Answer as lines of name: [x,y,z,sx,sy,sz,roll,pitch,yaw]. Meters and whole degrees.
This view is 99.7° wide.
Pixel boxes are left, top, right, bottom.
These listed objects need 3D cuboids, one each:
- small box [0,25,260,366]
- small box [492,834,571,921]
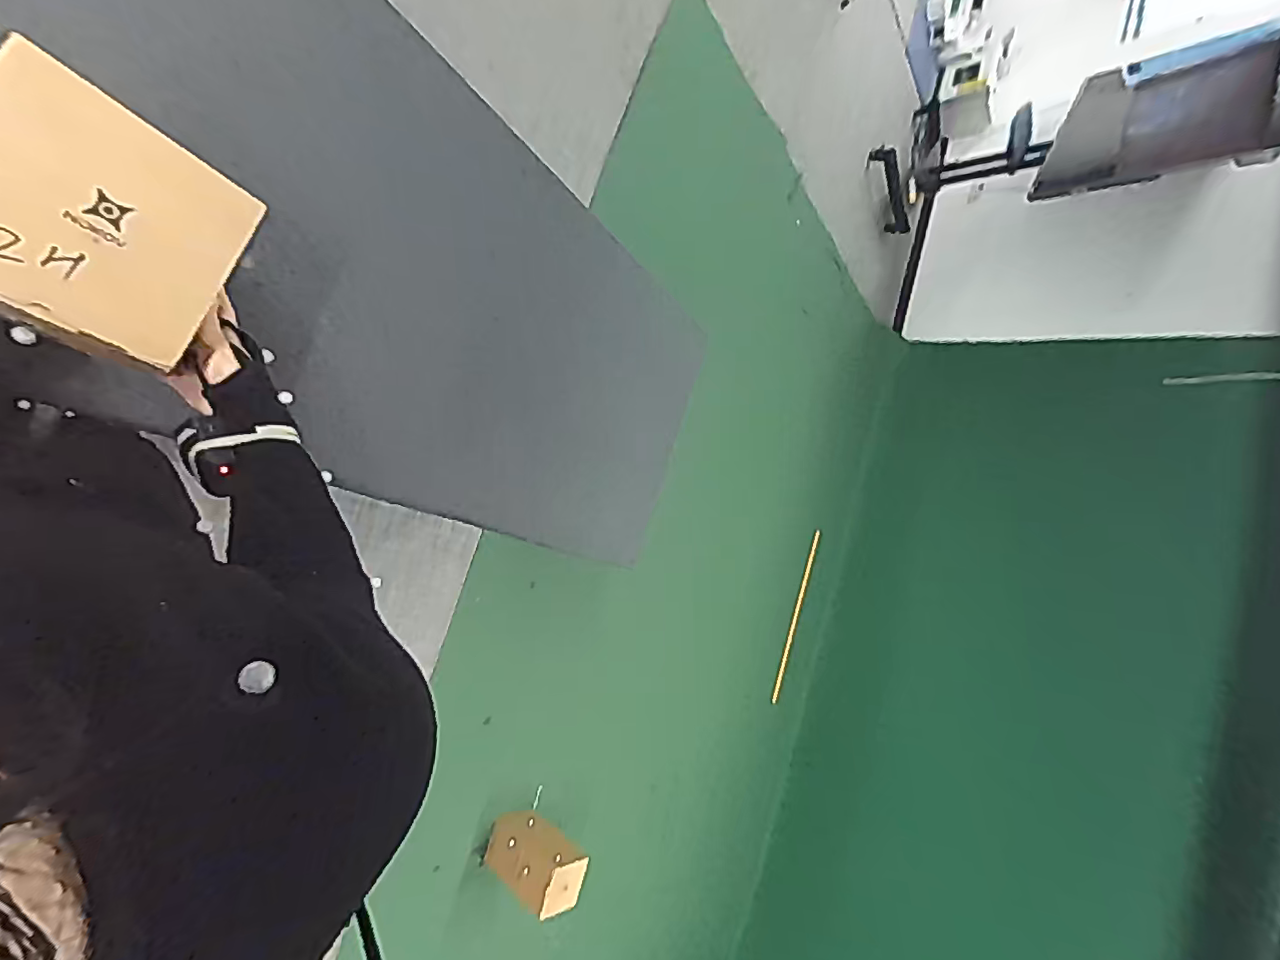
small box: [-0.476,-0.213,0.456,0.168,0.176,0.179,36,68,-49]
small box: [-0.380,1.377,1.892,0.179,0.176,0.168,26,78,-51]
